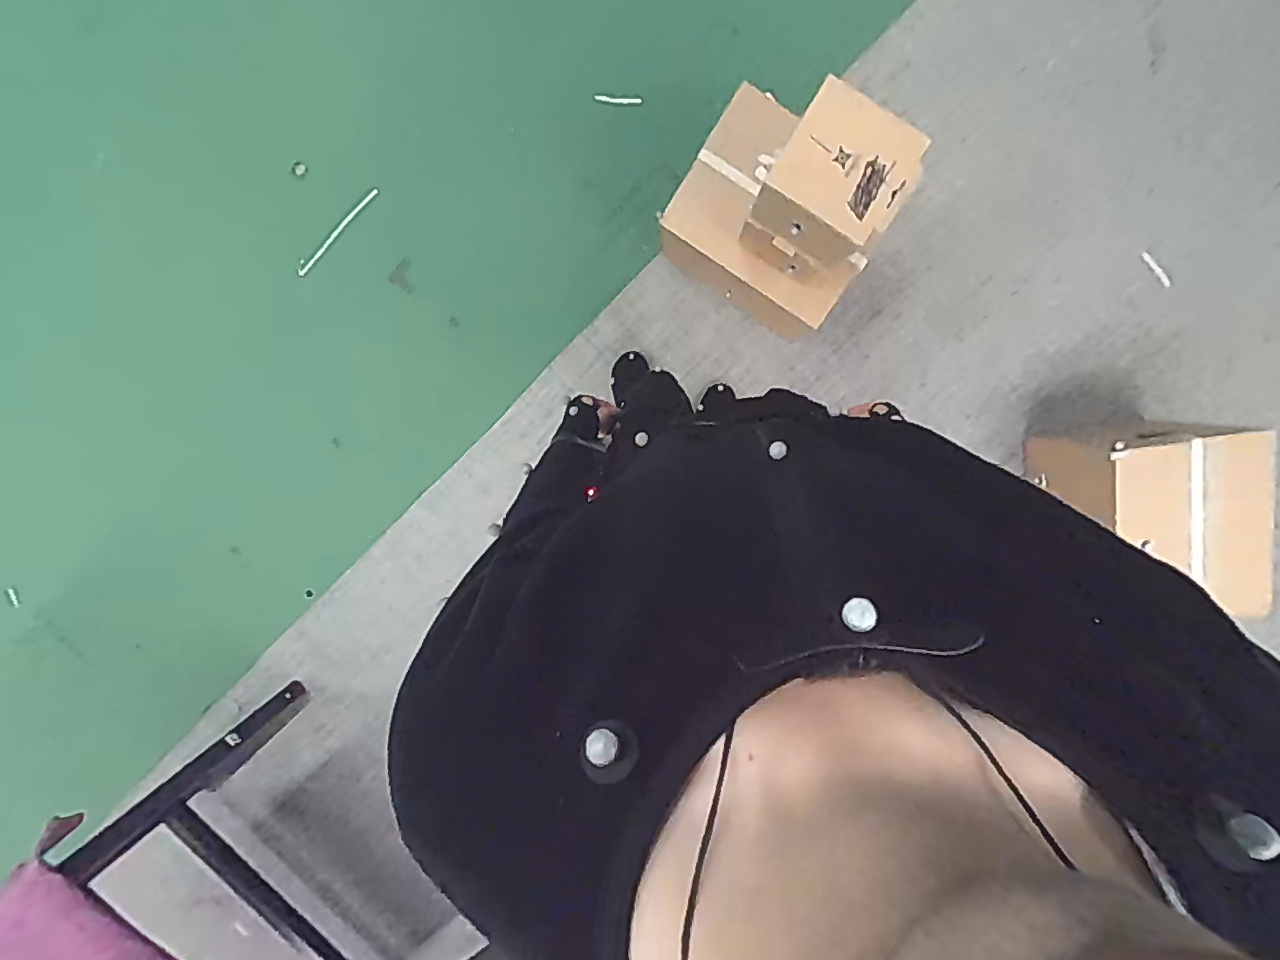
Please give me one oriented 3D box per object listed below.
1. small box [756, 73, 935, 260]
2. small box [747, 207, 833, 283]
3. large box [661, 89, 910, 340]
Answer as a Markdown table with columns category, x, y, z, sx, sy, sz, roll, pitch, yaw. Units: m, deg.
| category | x | y | z | sx | sy | sz | roll | pitch | yaw |
| --- | --- | --- | --- | --- | --- | --- | --- | --- | --- |
| small box | 0.304 | -0.466 | 0.840 | 0.179 | 0.176 | 0.168 | 33 | 101 | -1 |
| small box | 0.313 | -0.493 | 1.002 | 0.168 | 0.176 | 0.179 | 34 | 101 | -2 |
| large box | 0.306 | -0.567 | 1.239 | 0.408 | 0.320 | 0.320 | 33 | 99 | 0 |
